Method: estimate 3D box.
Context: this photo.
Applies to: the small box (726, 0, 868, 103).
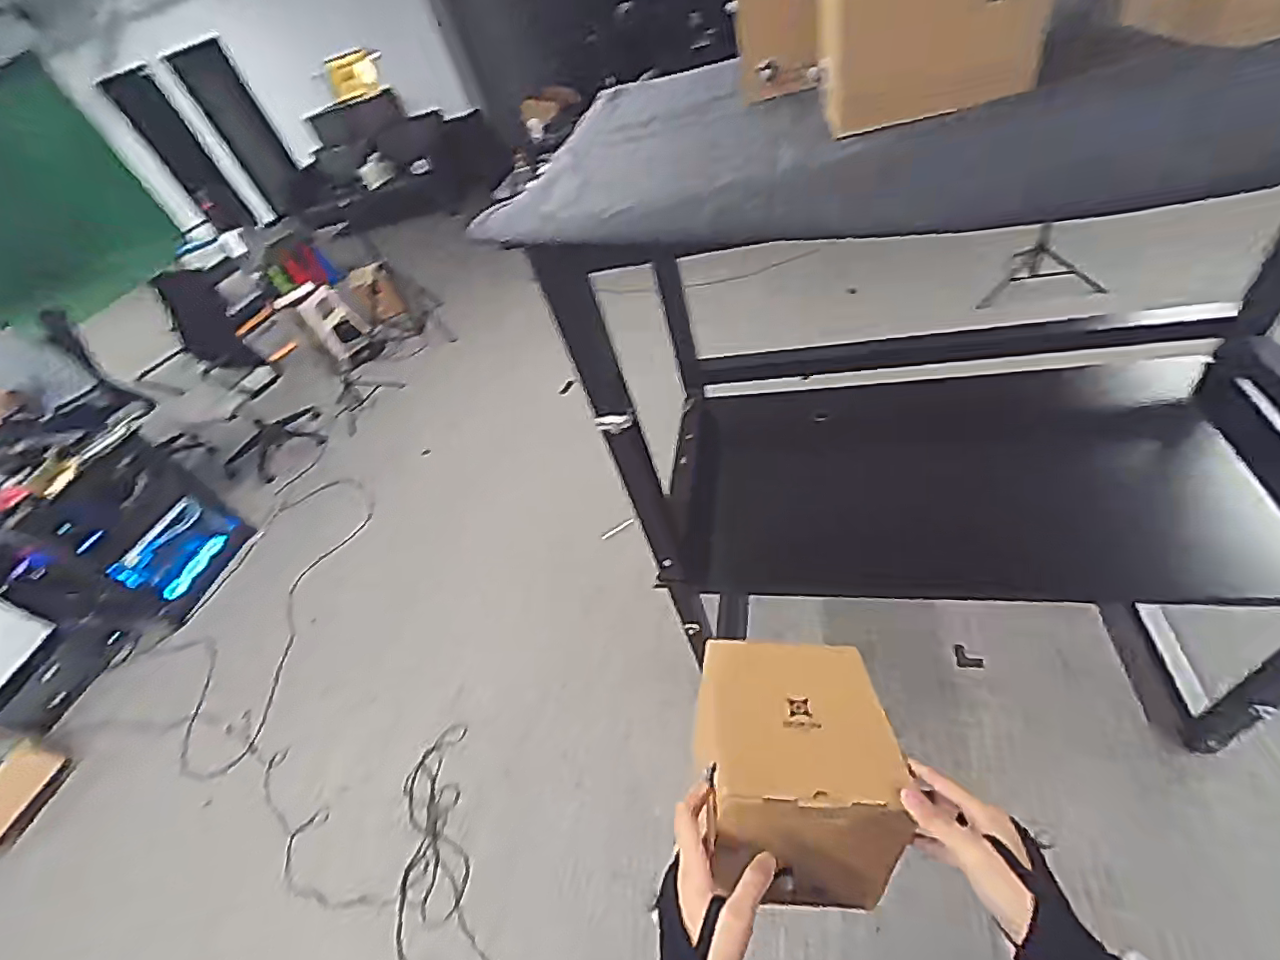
[{"bbox_3d":[0.205,-0.622,0.708,0.168,0.176,0.179,-3,46,17],"label":"small box"}]
